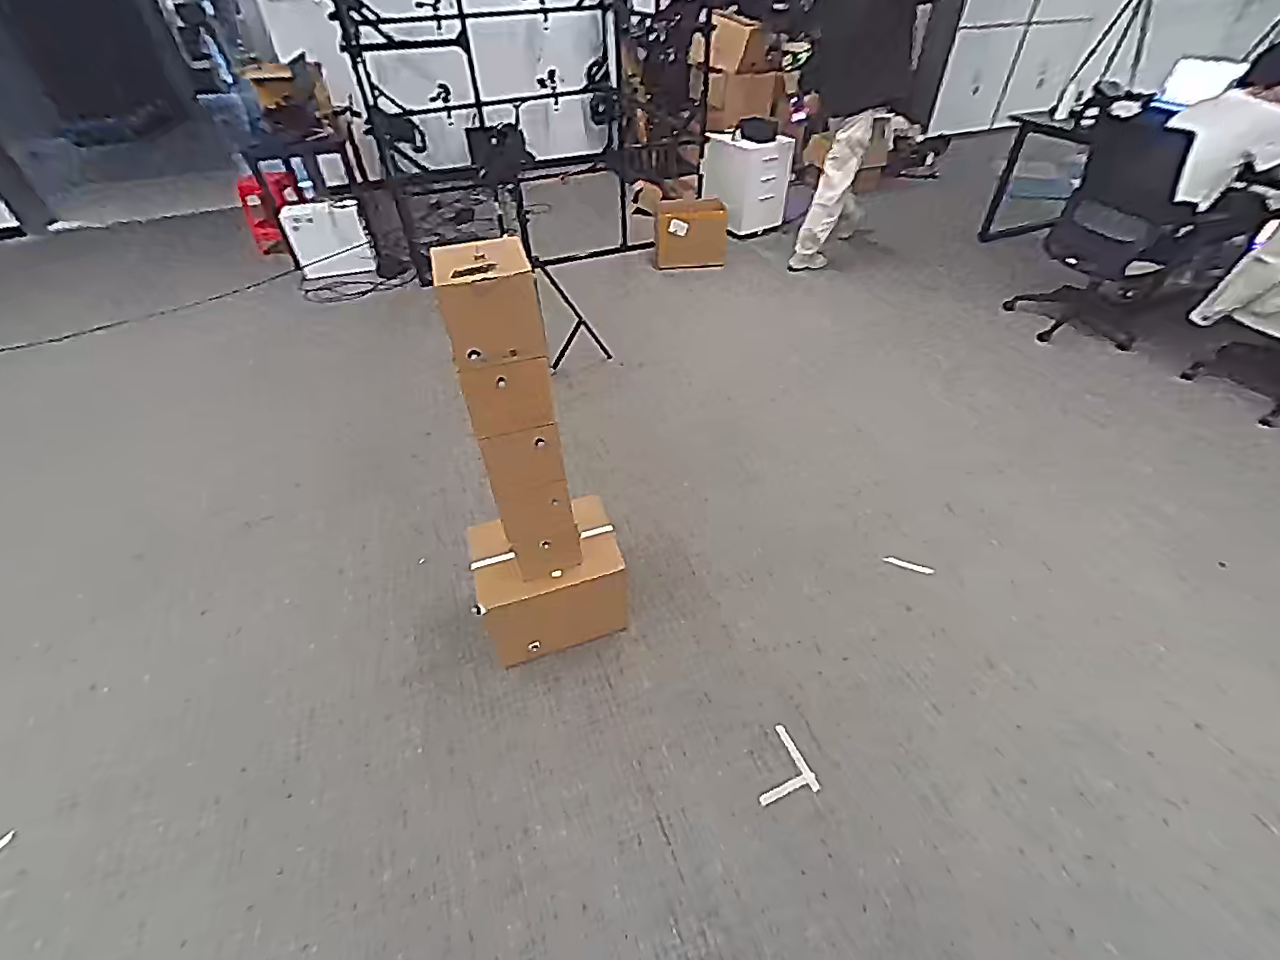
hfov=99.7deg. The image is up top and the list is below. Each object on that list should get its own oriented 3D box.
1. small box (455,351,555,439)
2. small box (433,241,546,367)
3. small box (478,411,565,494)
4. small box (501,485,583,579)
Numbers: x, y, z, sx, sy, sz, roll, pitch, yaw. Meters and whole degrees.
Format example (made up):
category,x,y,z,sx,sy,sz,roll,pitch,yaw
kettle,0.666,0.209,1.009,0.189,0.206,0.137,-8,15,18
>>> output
category,x,y,z,sx,sy,sz,roll,pitch,yaw
small box,-0.280,-0.209,1.139,0.179,0.176,0.168,-14,46,-11
small box,-0.282,-0.329,1.026,0.168,0.176,0.179,-14,45,-11
small box,-0.276,-0.092,1.251,0.179,0.176,0.168,-14,45,-12
small box,-0.264,0.145,1.478,0.179,0.176,0.168,-16,46,-15
